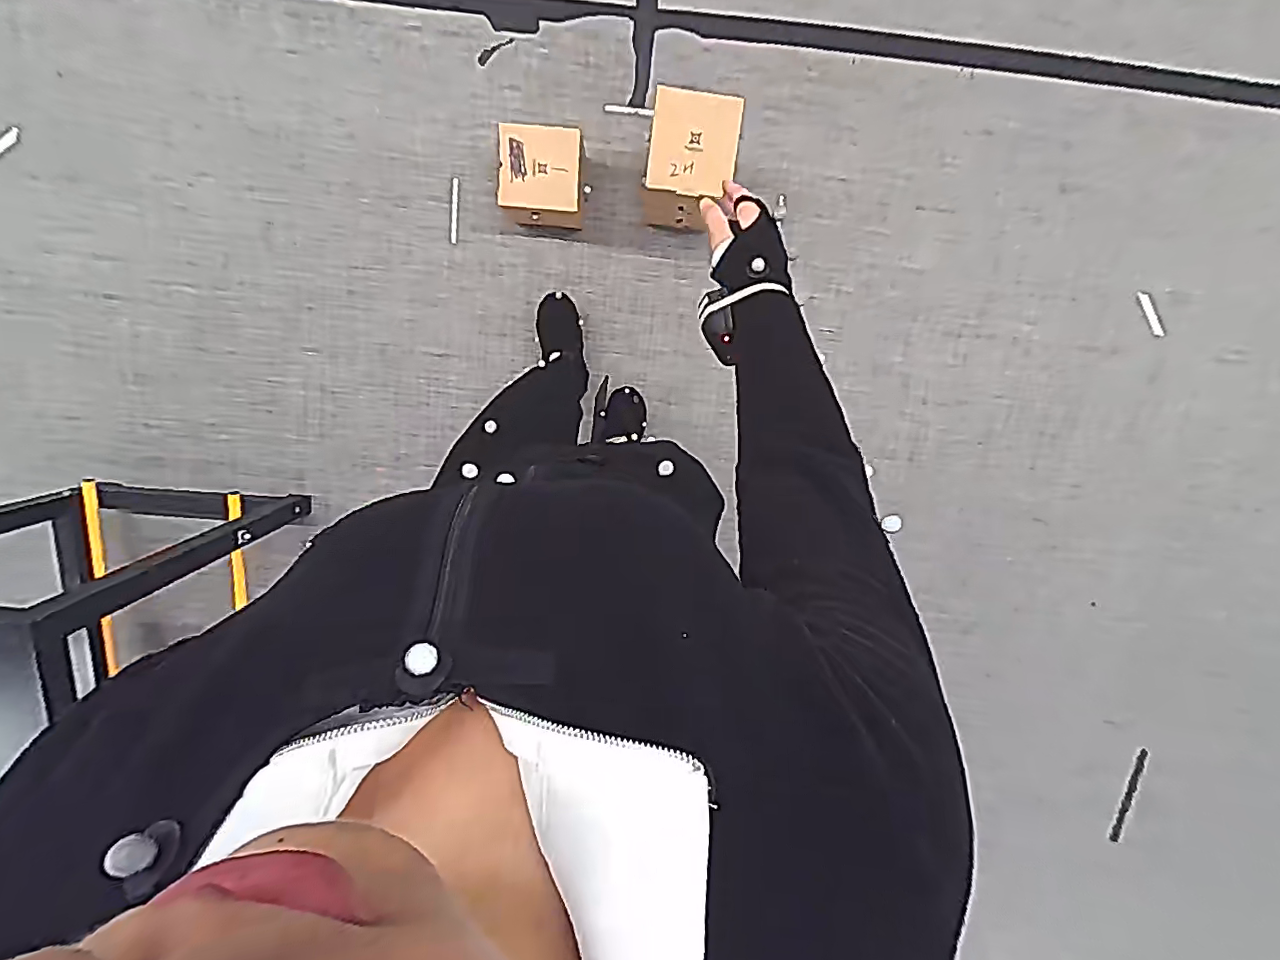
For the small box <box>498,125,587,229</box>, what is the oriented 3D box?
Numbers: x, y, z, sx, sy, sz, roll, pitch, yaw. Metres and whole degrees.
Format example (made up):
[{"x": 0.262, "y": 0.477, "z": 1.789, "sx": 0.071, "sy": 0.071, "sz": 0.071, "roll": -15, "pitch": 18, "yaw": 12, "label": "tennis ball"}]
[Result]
[{"x": -0.221, "y": -0.690, "z": 1.249, "sx": 0.179, "sy": 0.176, "sz": 0.168, "roll": 4, "pitch": 104, "yaw": -2, "label": "small box"}]

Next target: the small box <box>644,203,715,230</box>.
[{"x": 0.100, "y": -0.693, "z": 1.255, "sx": 0.168, "sy": 0.176, "sz": 0.179, "roll": 6, "pitch": 104, "yaw": -2, "label": "small box"}]

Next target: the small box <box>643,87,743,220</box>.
[{"x": 0.098, "y": -0.648, "z": 1.094, "sx": 0.168, "sy": 0.176, "sz": 0.179, "roll": 7, "pitch": 104, "yaw": -2, "label": "small box"}]
